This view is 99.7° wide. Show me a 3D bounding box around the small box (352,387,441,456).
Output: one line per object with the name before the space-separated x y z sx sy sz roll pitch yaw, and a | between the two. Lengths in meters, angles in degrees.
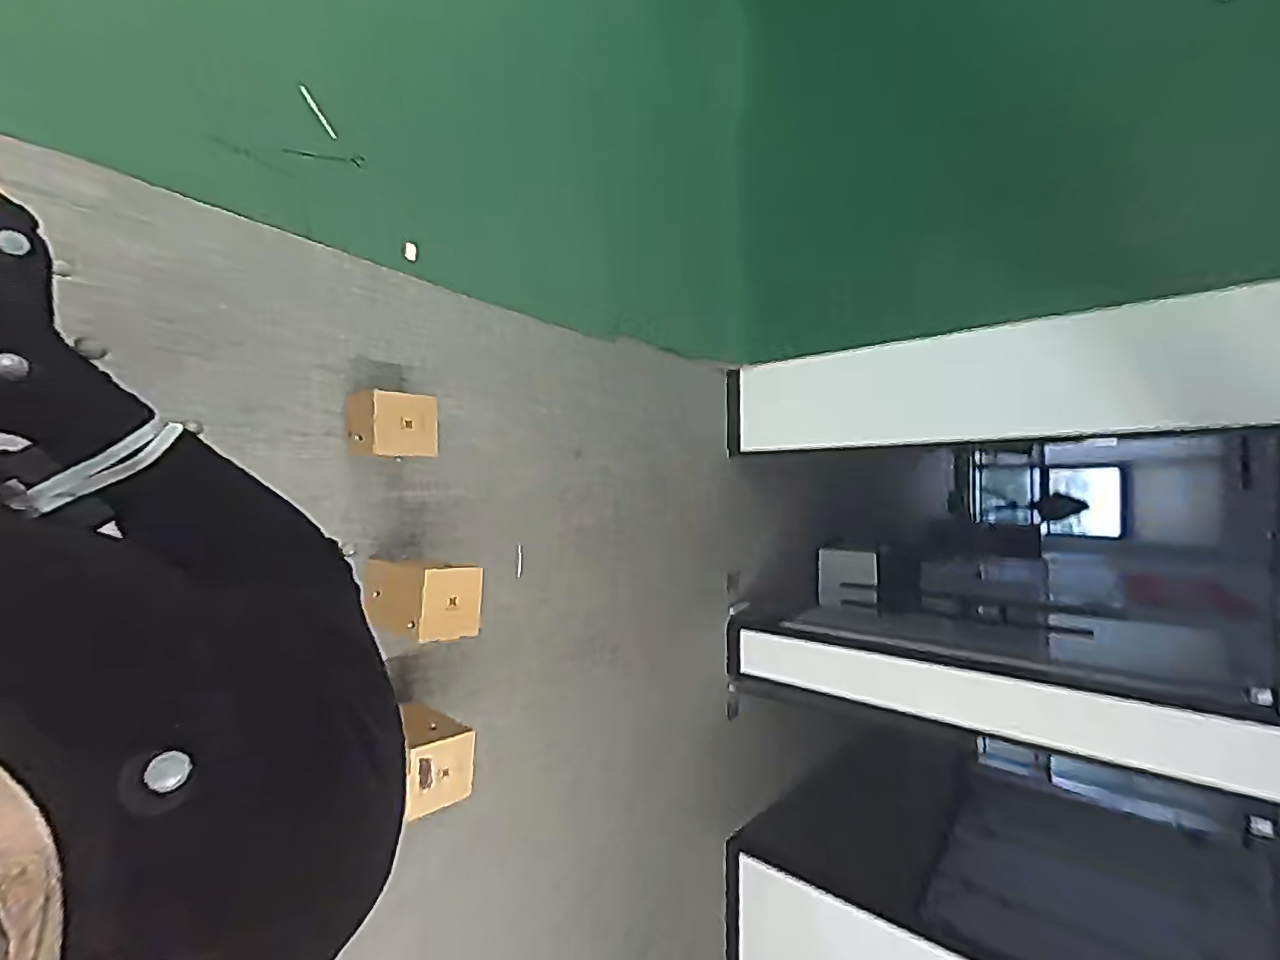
small box | -0.667 -0.152 1.474 0.179 0.176 0.168 0 90 -51

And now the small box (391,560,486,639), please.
small box | -0.520 0.298 1.391 0.168 0.176 0.179 8 83 -50

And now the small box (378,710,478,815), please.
small box | -0.537 0.702 1.366 0.179 0.176 0.168 9 83 -51
